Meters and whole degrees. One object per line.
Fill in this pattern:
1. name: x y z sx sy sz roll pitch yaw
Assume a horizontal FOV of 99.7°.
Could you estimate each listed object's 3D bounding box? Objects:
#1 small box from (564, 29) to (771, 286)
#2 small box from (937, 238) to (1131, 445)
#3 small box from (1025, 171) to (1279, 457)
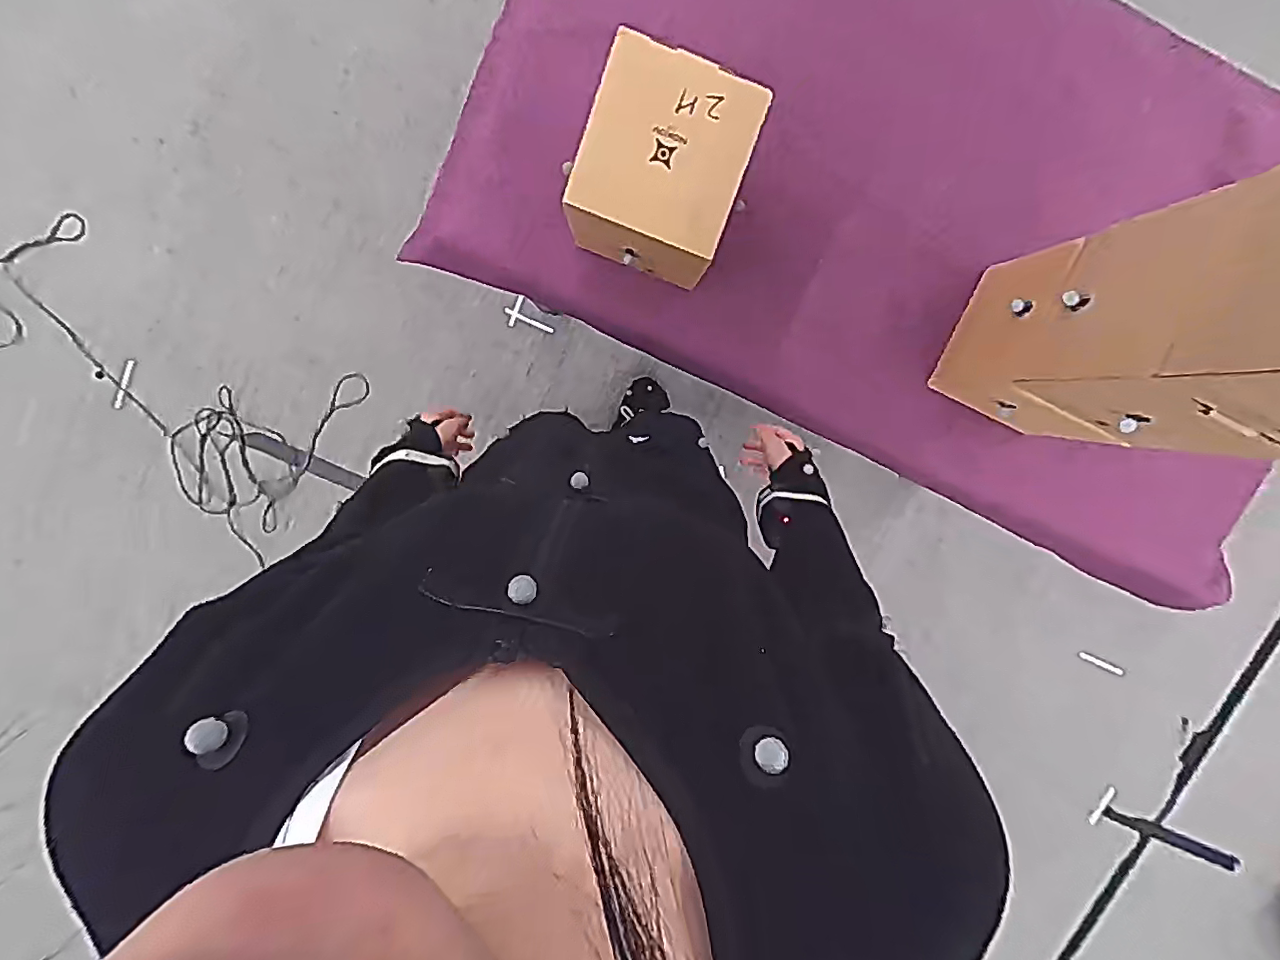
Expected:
1. small box: 0.026 -0.345 0.623 0.168 0.176 0.179 20 97 -5
2. small box: 0.509 -0.160 0.670 0.168 0.176 0.179 24 97 -5
3. small box: 0.515 -0.138 0.508 0.168 0.176 0.179 25 98 -5
